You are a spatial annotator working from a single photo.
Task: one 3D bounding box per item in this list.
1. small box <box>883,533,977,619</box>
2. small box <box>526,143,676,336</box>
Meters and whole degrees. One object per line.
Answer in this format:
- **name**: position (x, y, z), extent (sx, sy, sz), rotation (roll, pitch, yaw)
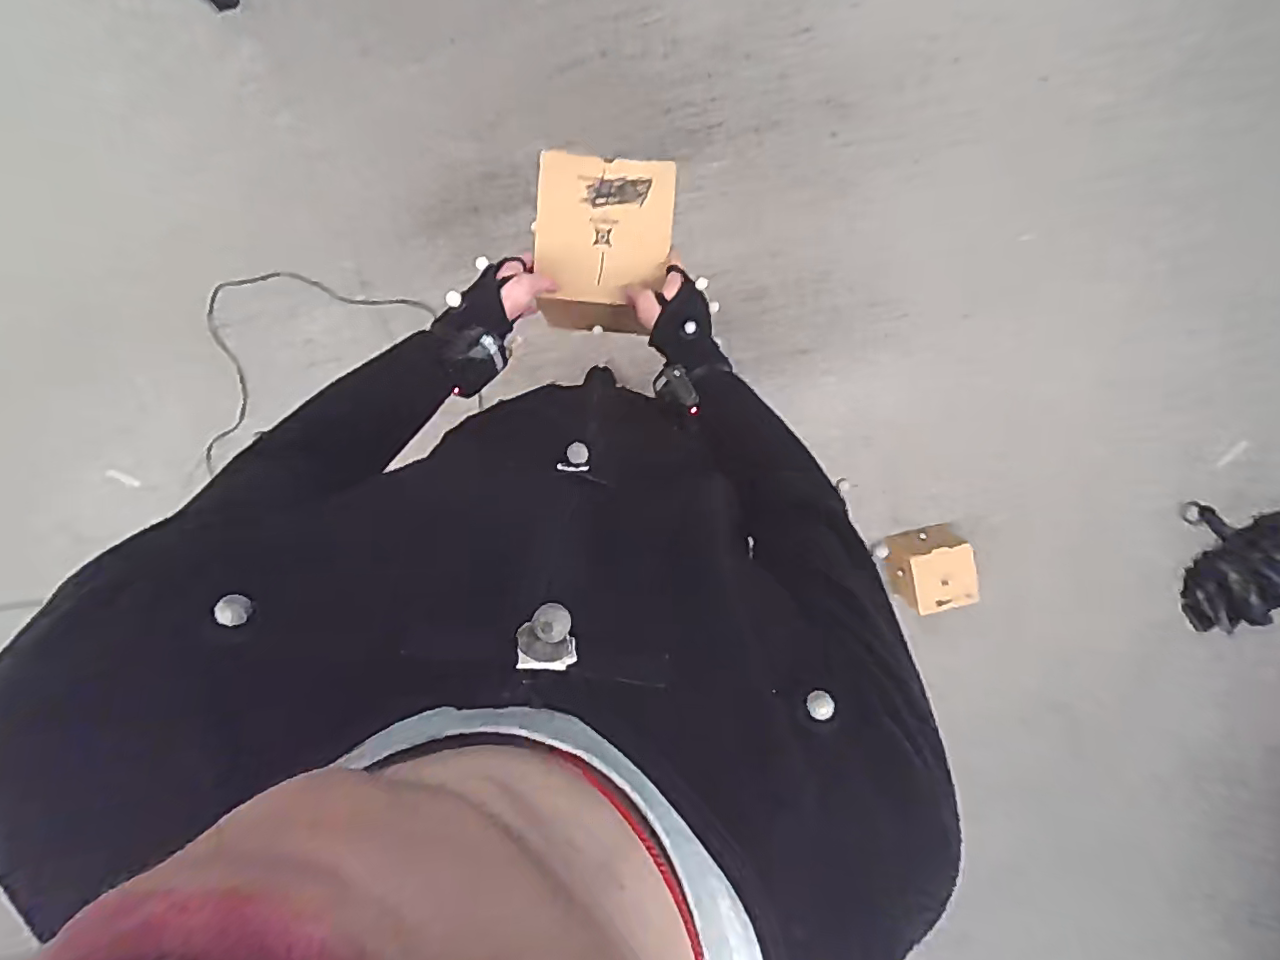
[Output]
- **small box**: position (0.805, 0.260, 1.516), extent (0.168, 0.176, 0.179), rotation (-14, 101, 3)
- **small box**: position (-0.050, -0.302, 0.712), extent (0.168, 0.176, 0.179), rotation (4, 93, -2)
